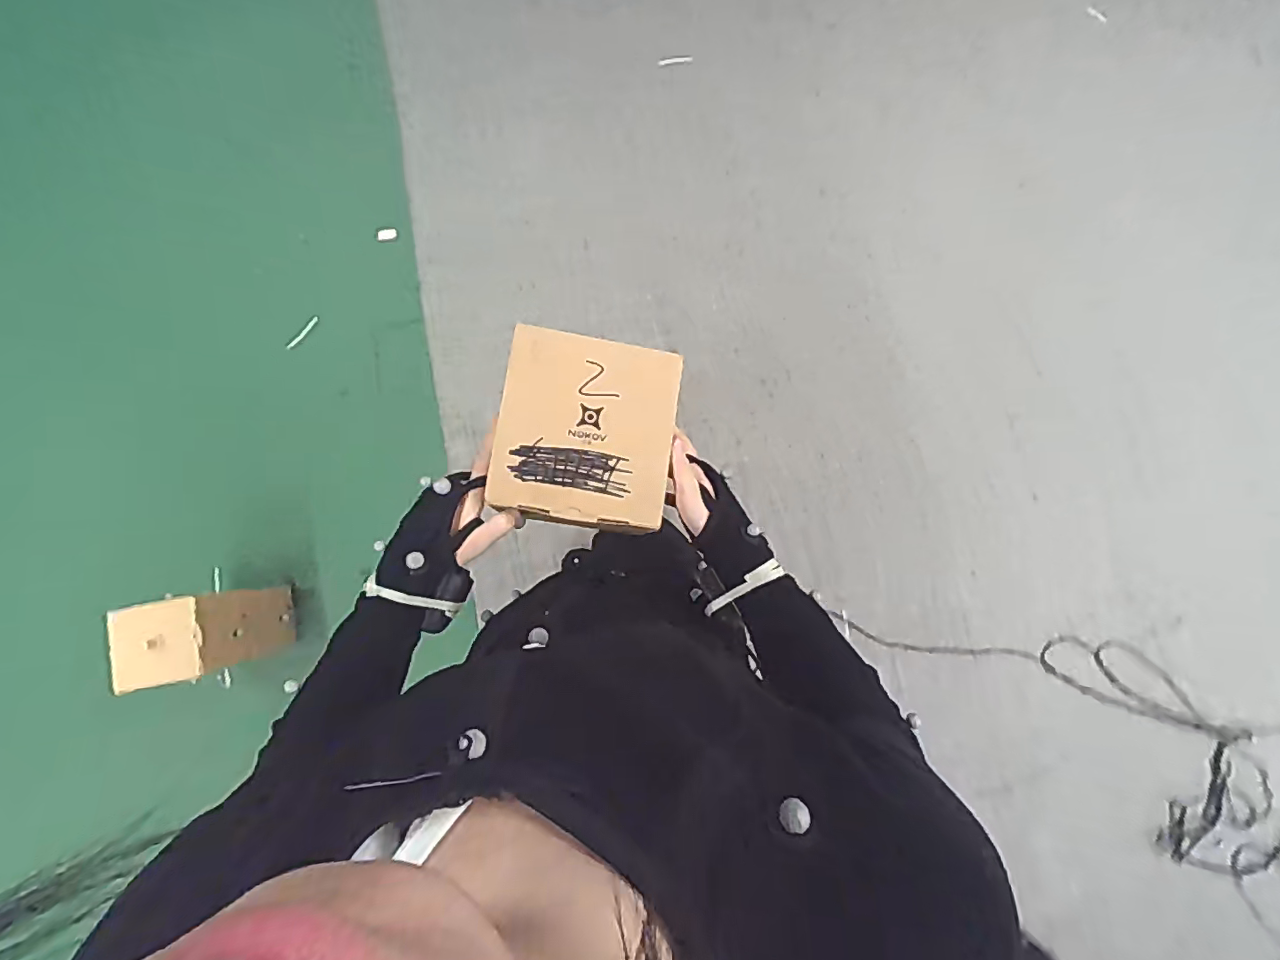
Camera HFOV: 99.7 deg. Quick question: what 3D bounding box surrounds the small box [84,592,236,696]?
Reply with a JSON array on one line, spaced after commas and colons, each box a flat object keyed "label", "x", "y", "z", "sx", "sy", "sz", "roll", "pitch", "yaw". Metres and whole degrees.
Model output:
[{"label": "small box", "x": -1.011, "y": 0.341, "z": 1.150, "sx": 0.179, "sy": 0.176, "sz": 0.168, "roll": -11, "pitch": 84, "yaw": -5}]

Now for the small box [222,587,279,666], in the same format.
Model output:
[{"label": "small box", "x": -1.020, "y": 0.360, "z": 1.311, "sx": 0.179, "sy": 0.176, "sz": 0.168, "roll": -10, "pitch": 85, "yaw": -5}]
